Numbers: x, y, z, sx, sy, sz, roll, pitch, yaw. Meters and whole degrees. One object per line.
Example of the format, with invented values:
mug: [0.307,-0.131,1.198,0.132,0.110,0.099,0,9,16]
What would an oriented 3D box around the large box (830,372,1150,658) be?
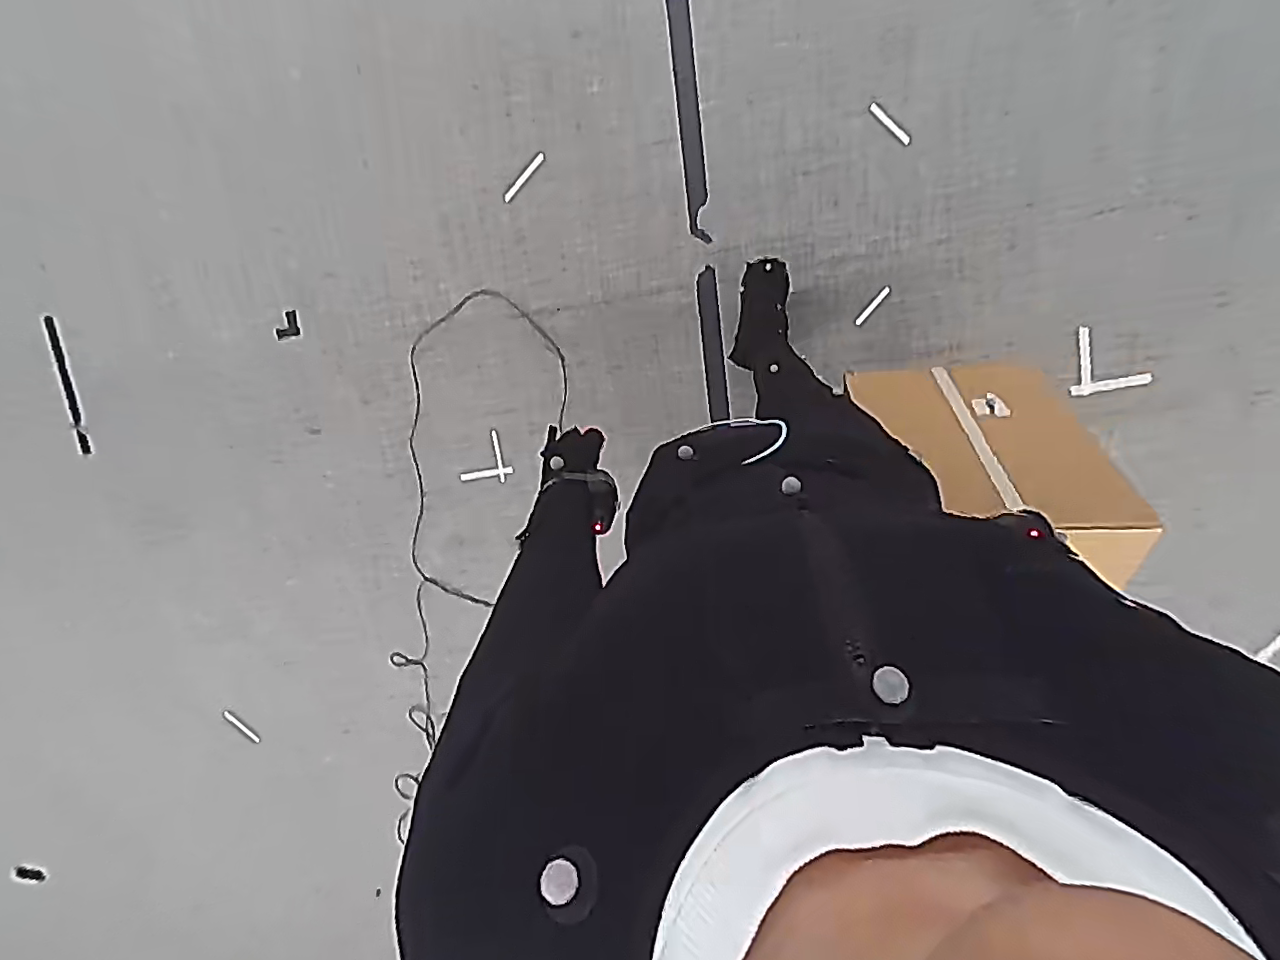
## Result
large box: [0.530,0.051,0.939,0.320,0.408,0.320,-1,128,9]
